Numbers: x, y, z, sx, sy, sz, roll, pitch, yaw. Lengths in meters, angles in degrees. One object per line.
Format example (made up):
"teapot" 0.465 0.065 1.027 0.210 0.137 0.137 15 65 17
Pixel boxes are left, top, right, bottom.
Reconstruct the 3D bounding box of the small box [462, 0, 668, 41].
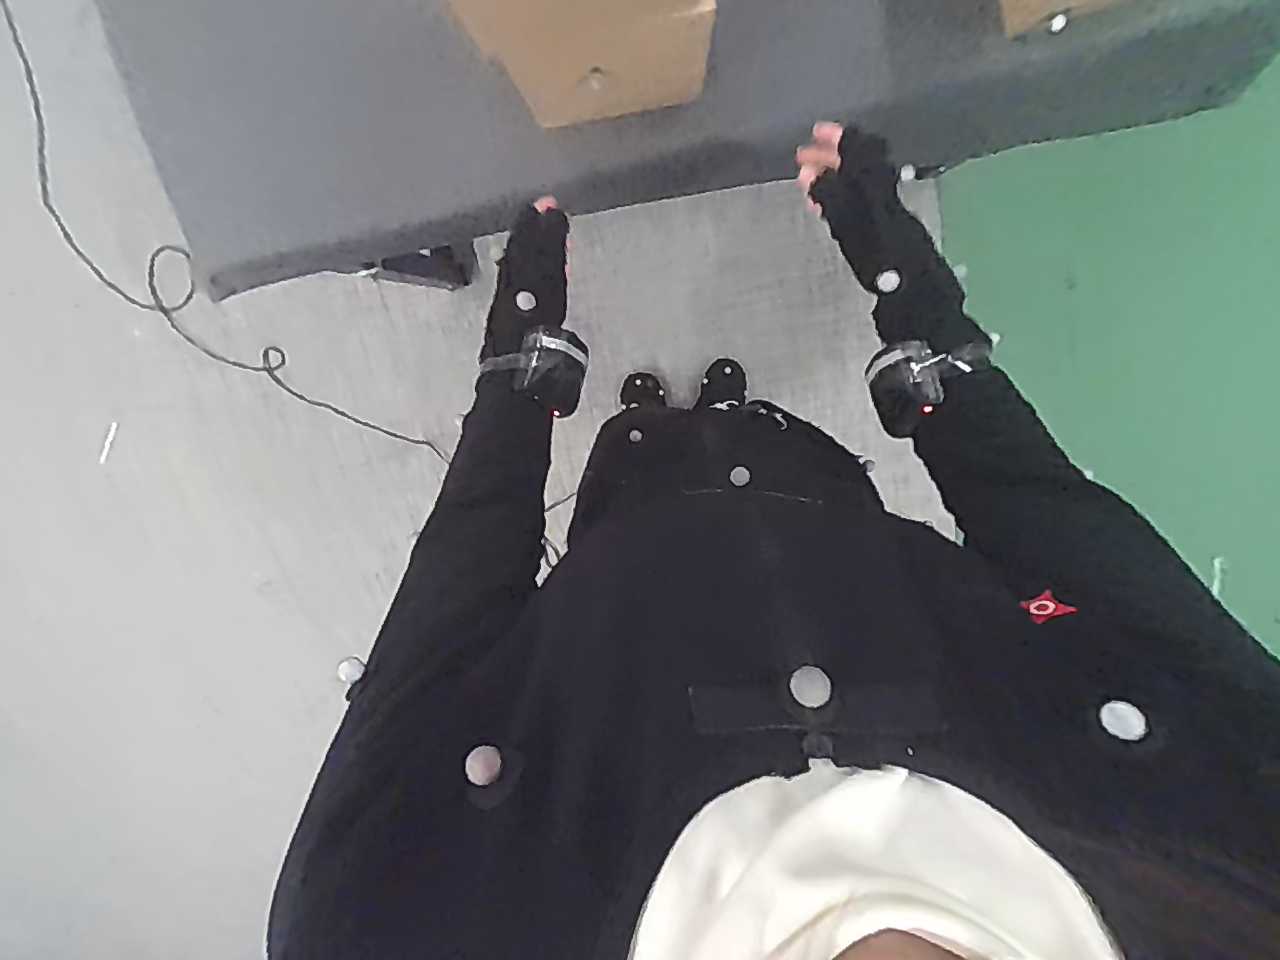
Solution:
"small box" -0.055 -0.417 0.329 0.179 0.176 0.168 -9 103 6

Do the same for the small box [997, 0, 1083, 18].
"small box" 0.416 -0.531 0.443 0.168 0.176 0.179 -14 104 7

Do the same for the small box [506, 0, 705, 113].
"small box" -0.036 -0.461 0.485 0.179 0.176 0.168 -7 105 5
